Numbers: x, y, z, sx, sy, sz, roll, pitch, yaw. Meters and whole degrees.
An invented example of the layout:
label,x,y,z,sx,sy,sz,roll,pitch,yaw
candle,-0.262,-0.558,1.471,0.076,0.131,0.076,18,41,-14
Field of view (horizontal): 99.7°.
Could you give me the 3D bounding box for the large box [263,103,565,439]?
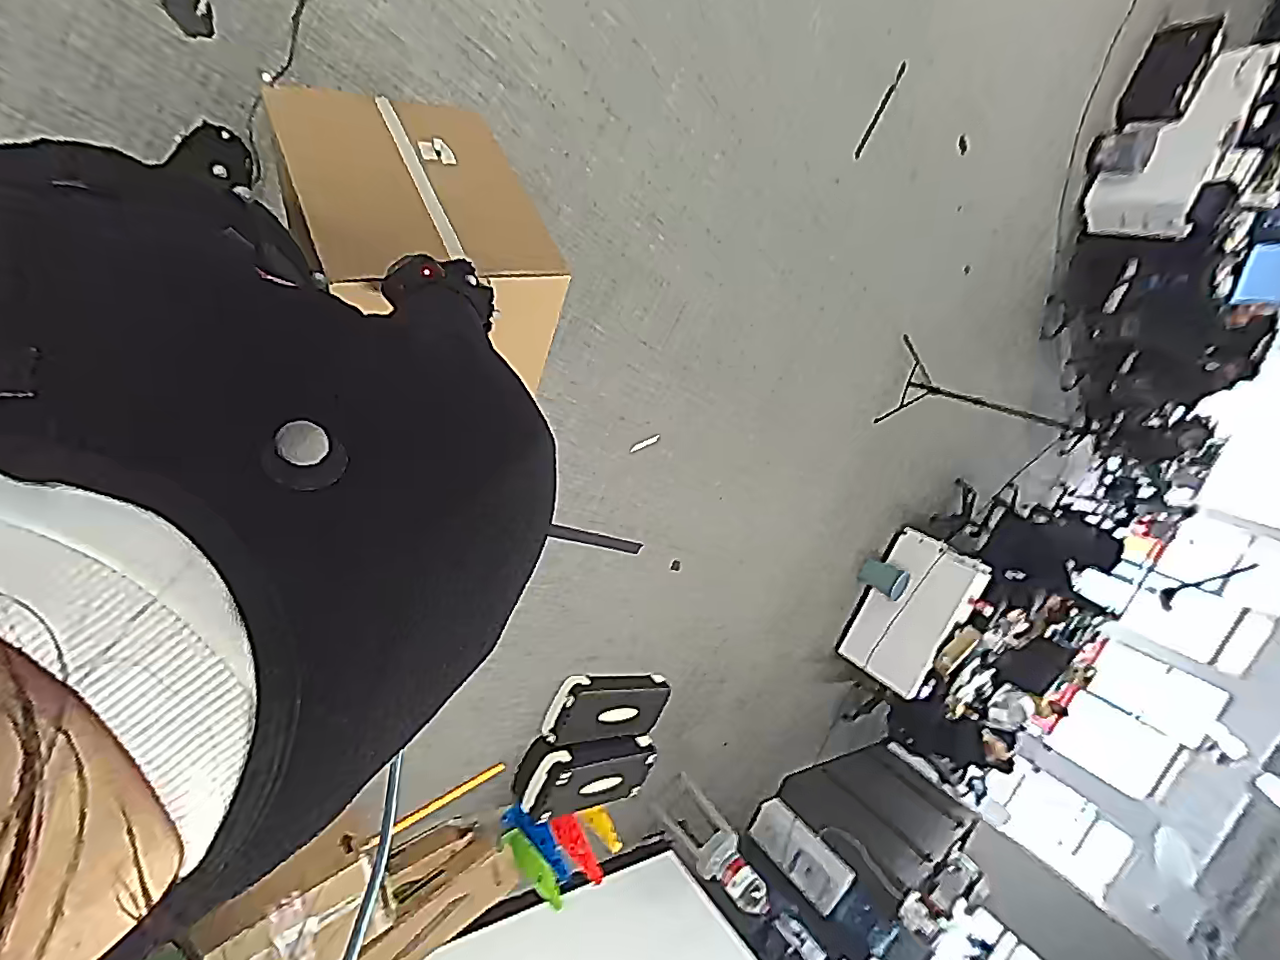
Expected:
label,x,y,z,sx,sy,sz,roll,pitch,yaw
large box,-0.374,-0.334,0.896,0.320,0.408,0.320,-15,154,-33
